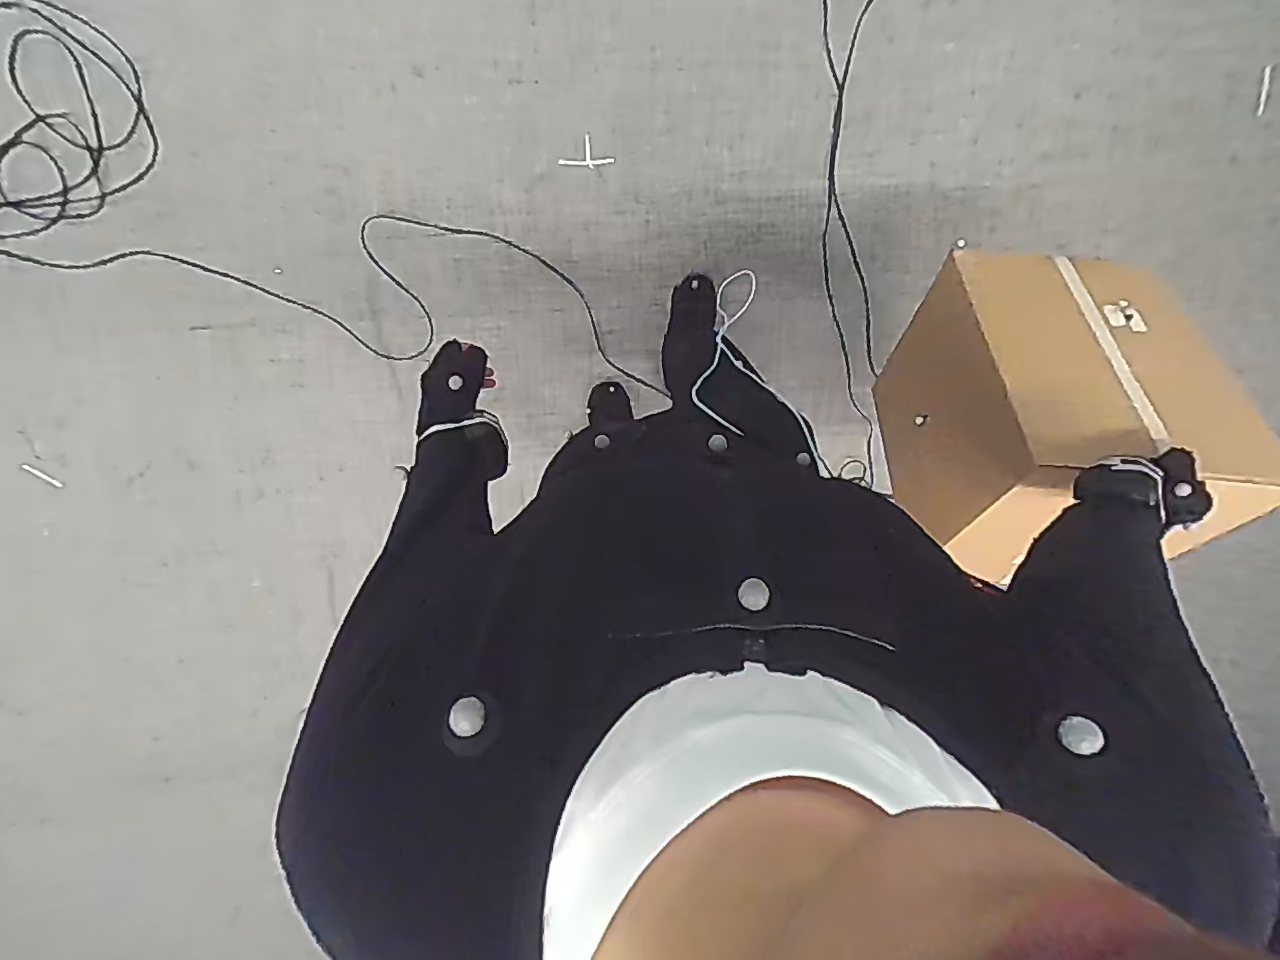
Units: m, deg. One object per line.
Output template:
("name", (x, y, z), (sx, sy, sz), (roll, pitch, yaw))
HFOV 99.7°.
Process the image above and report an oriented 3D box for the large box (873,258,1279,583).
("large box", (0.605, -0.086, 0.853), (0.320, 0.408, 0.320), (5, 146, 0))
